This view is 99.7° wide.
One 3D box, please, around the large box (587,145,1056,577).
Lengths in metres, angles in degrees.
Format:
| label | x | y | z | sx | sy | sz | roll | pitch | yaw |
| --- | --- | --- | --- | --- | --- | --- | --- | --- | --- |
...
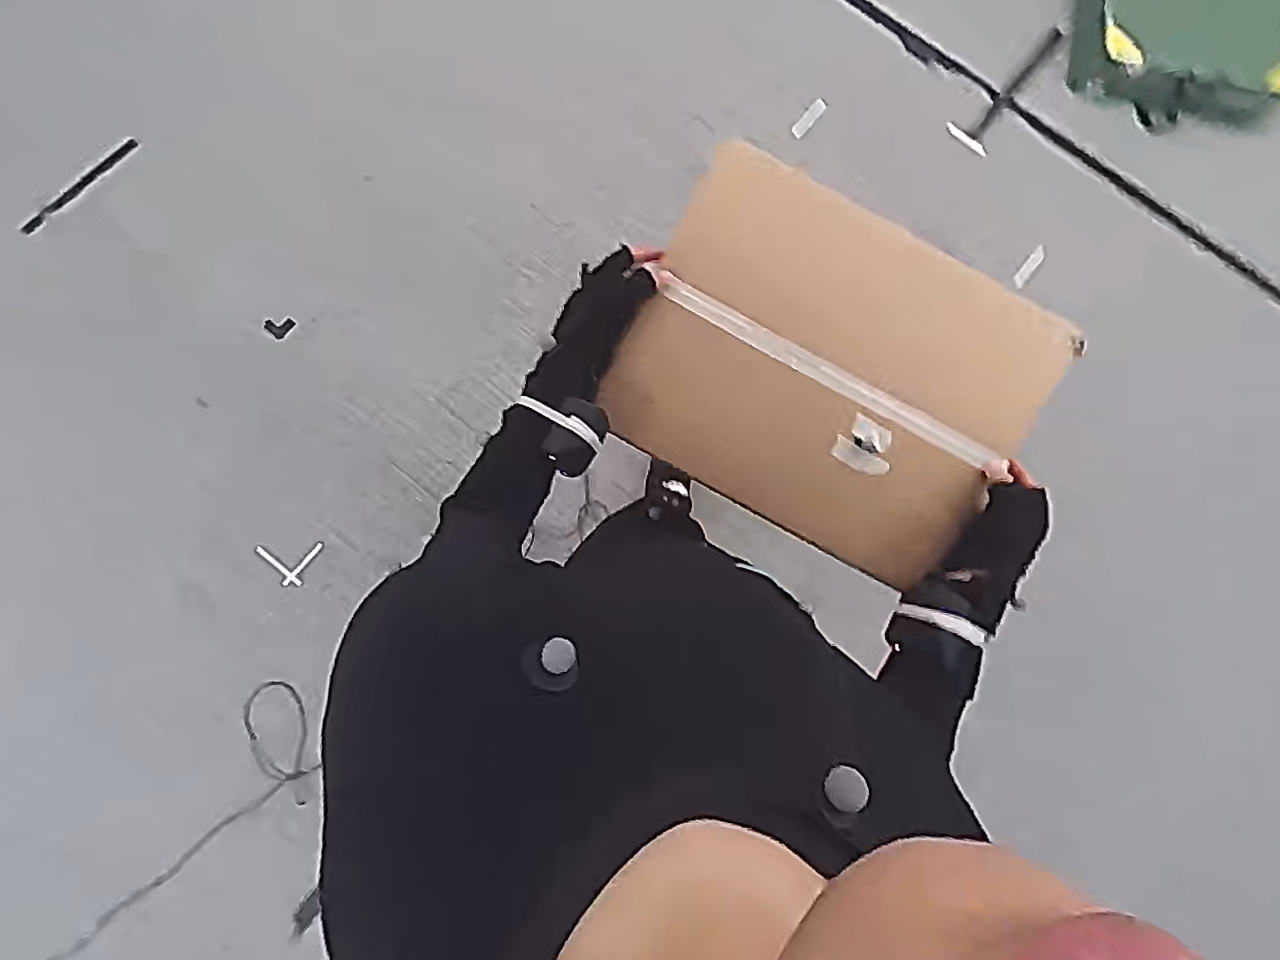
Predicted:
| label | x | y | z | sx | sy | sz | roll | pitch | yaw |
| --- | --- | --- | --- | --- | --- | --- | --- | --- | --- |
| large box | 0.187 | -0.130 | 0.712 | 0.408 | 0.320 | 0.320 | 29 | 96 | -1 |
